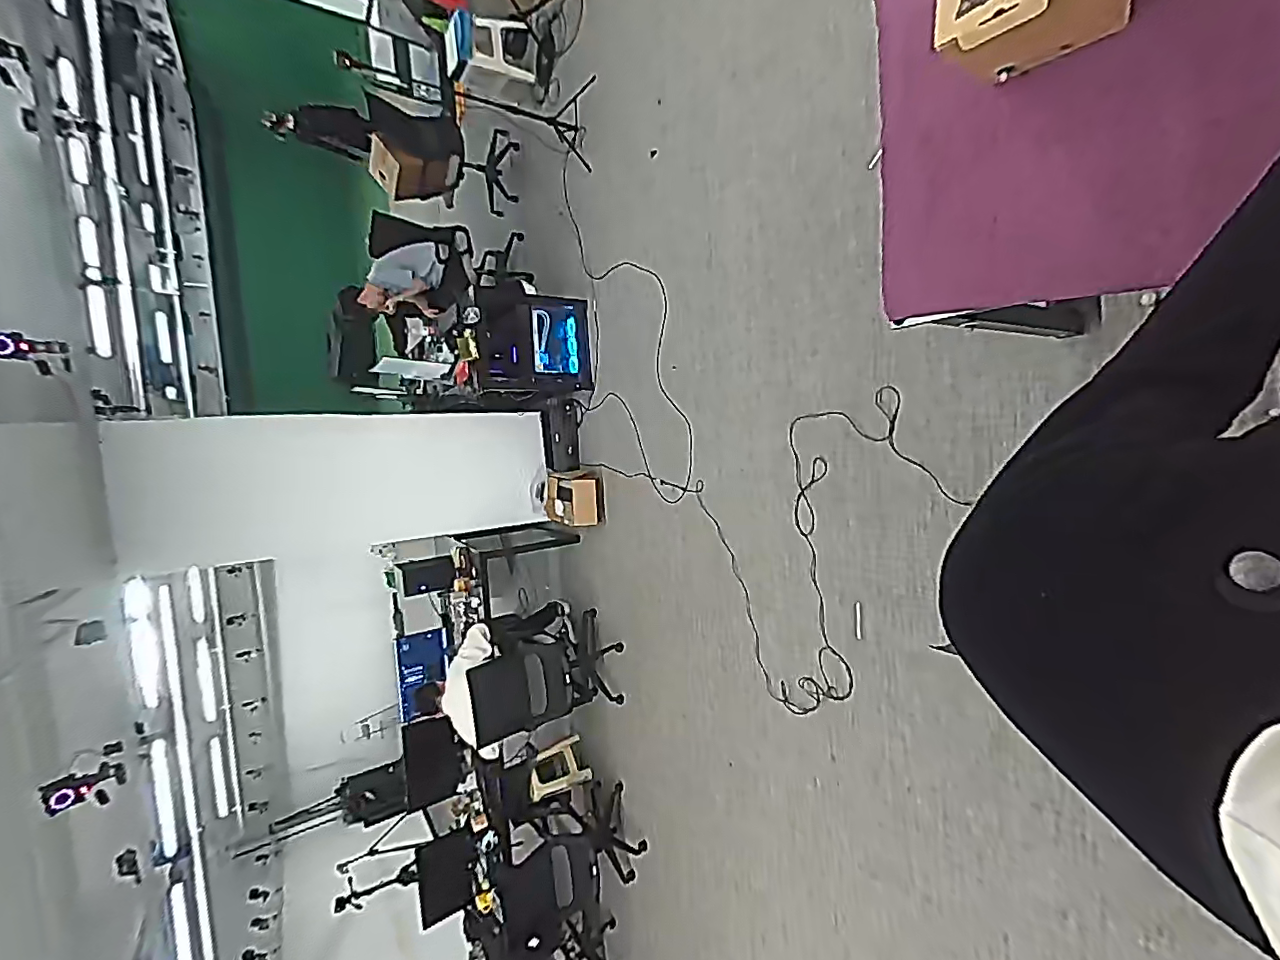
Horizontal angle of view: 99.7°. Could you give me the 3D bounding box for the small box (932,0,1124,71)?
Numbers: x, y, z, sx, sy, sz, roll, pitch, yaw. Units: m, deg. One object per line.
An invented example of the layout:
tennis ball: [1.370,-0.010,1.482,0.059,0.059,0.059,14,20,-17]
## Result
small box: [0.511,-0.674,0.705,0.168,0.176,0.179,13,106,55]
